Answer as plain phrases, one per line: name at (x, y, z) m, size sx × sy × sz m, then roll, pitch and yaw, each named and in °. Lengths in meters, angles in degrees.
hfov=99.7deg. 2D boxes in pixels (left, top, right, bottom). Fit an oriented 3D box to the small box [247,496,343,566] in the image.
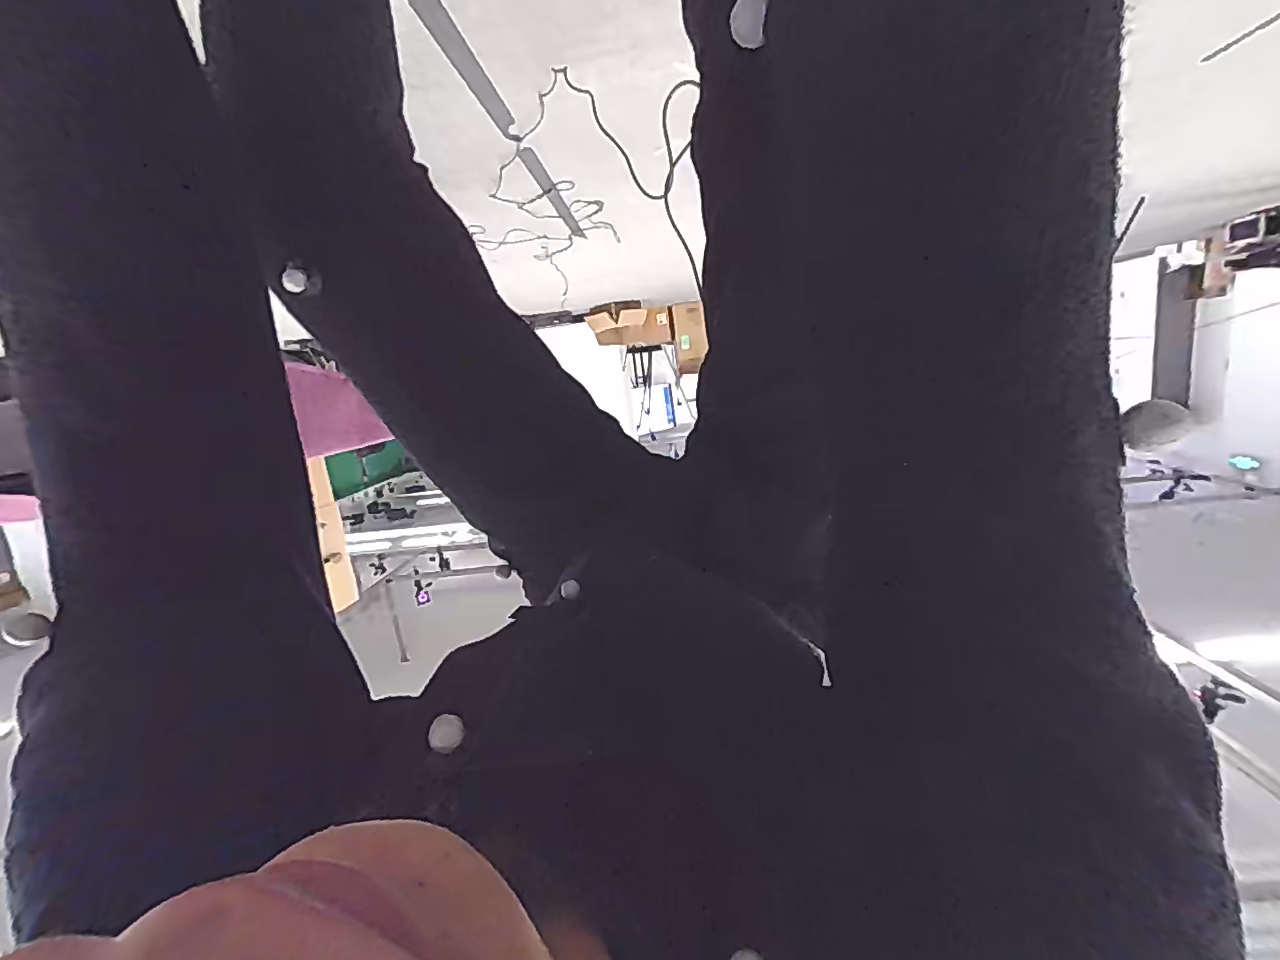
small box at (-1.037, 0.146, 1.625) m, size 0.179 × 0.176 × 0.168 m, roll -5°, pitch -167°, yaw 10°
